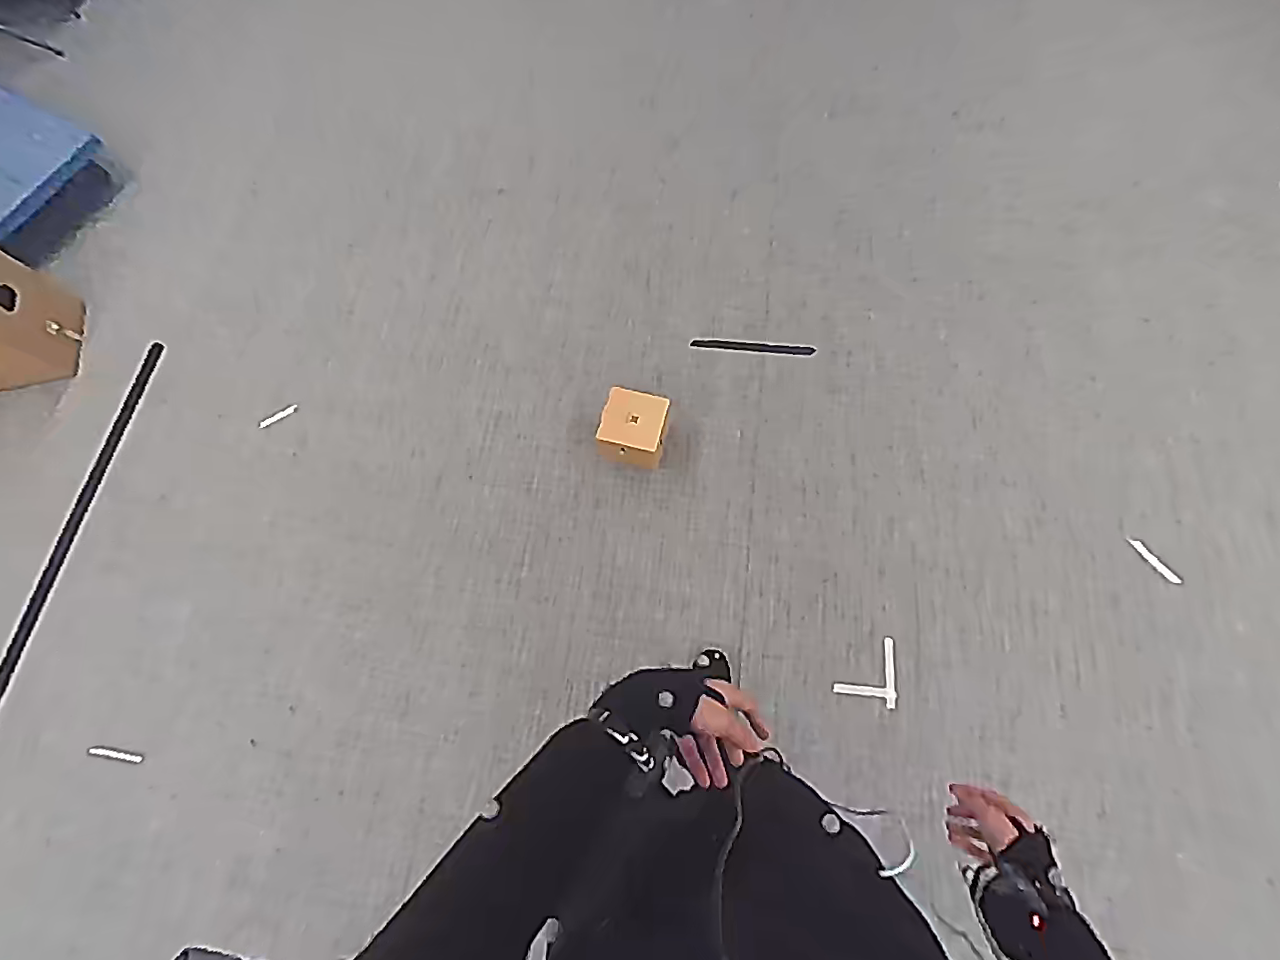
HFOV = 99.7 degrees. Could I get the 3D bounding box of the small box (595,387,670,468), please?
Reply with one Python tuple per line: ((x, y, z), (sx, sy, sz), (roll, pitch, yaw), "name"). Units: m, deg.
((-0.014, -0.145, 1.578), (0.179, 0.176, 0.168), (14, 74, 9), "small box")
